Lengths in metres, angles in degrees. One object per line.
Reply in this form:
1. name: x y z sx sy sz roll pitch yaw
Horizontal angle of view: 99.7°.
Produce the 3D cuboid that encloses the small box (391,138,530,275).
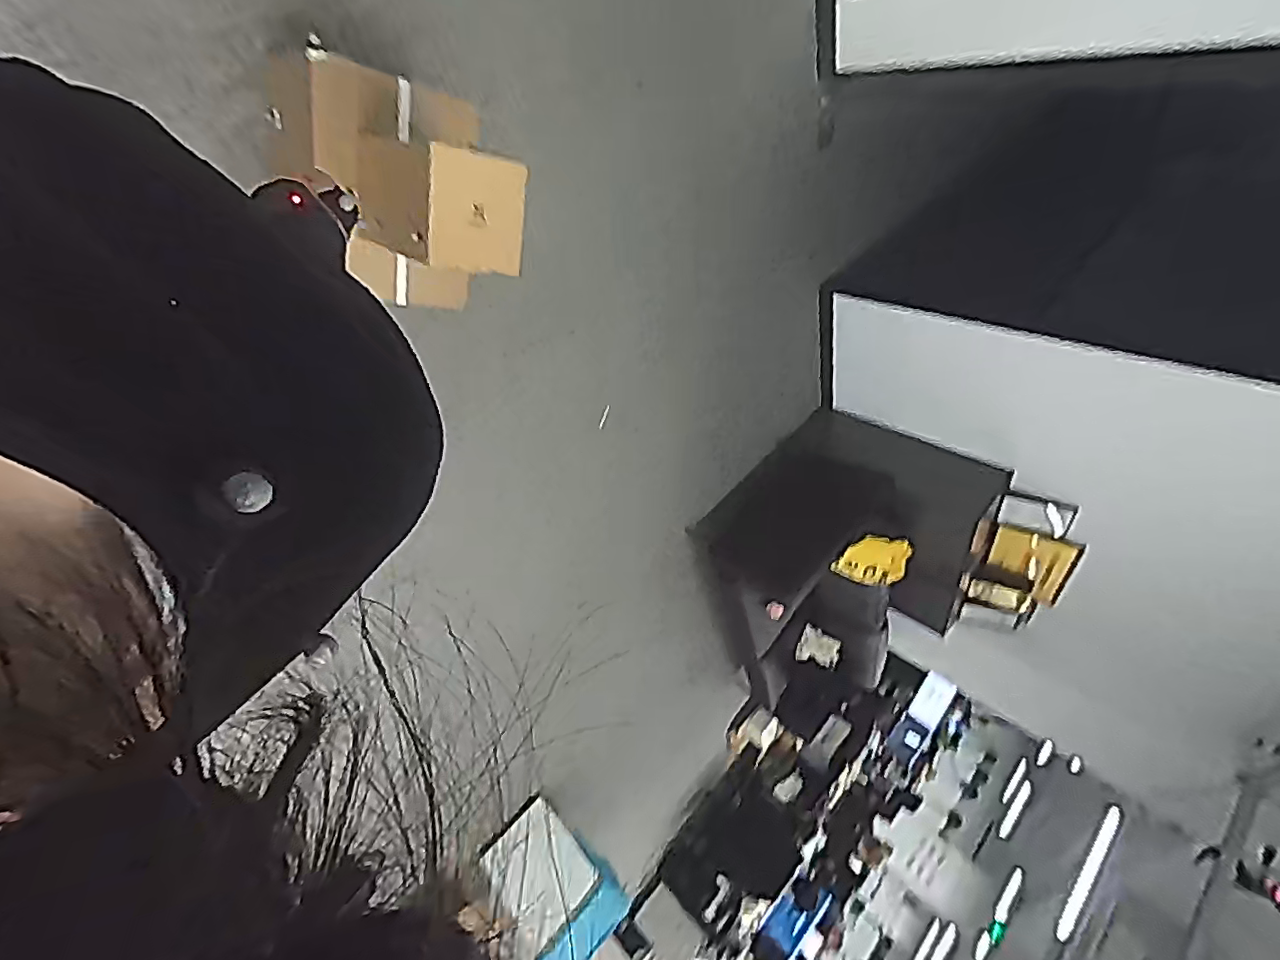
1. small box: -0.308 -0.462 0.917 0.168 0.176 0.179 -13 125 -43
